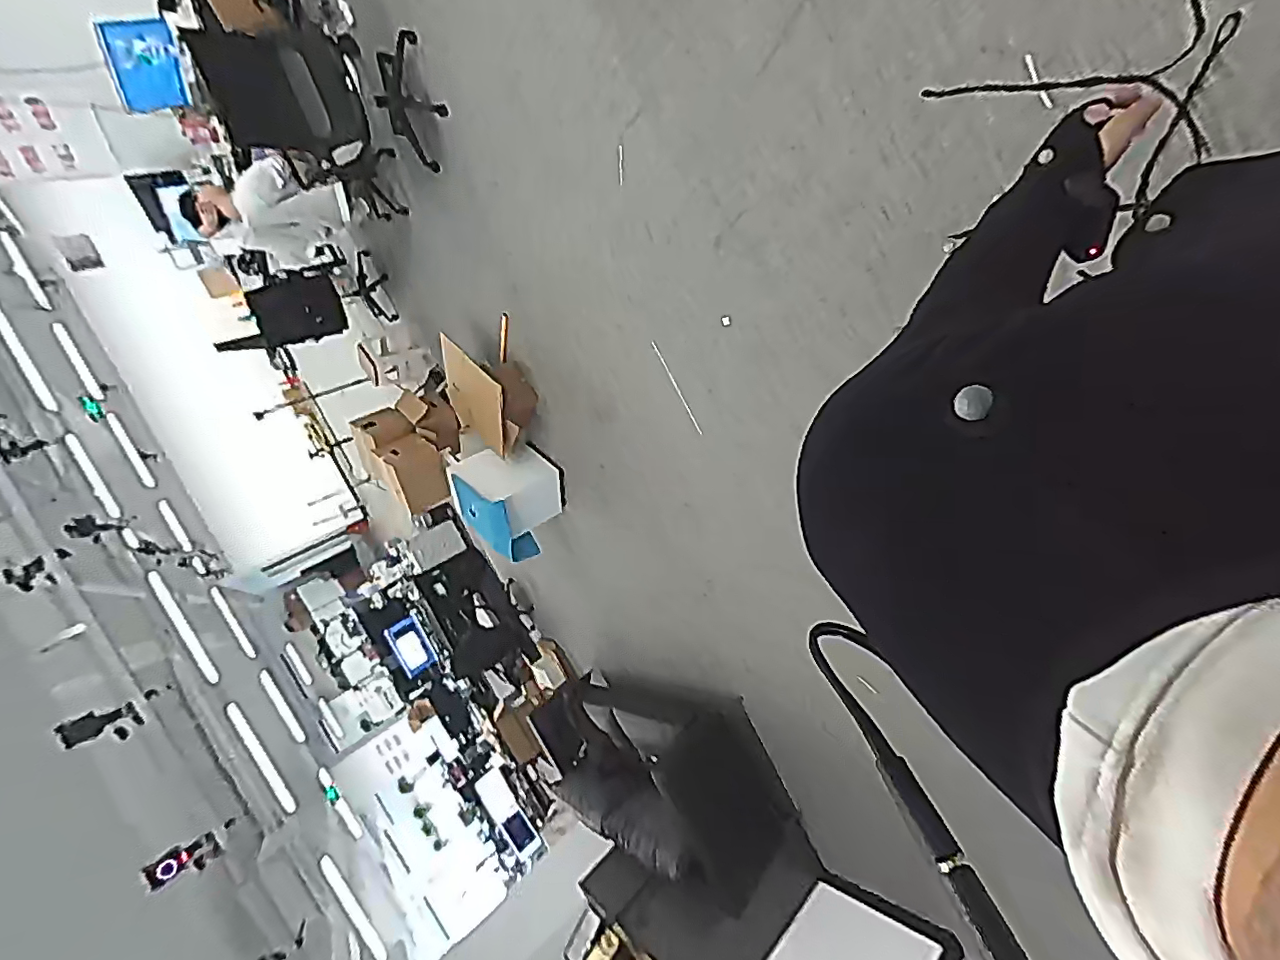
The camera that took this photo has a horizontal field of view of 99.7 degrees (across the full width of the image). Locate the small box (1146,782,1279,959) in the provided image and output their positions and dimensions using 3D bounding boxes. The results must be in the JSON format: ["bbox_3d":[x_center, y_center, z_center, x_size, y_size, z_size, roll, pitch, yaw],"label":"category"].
[{"bbox_3d":[0.990,0.654,0.906,0.168,0.176,0.179,-9,106,56],"label":"small box"}]

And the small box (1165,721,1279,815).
[{"bbox_3d":[1.113,0.587,0.993,0.168,0.176,0.179,-10,104,56],"label":"small box"}]
